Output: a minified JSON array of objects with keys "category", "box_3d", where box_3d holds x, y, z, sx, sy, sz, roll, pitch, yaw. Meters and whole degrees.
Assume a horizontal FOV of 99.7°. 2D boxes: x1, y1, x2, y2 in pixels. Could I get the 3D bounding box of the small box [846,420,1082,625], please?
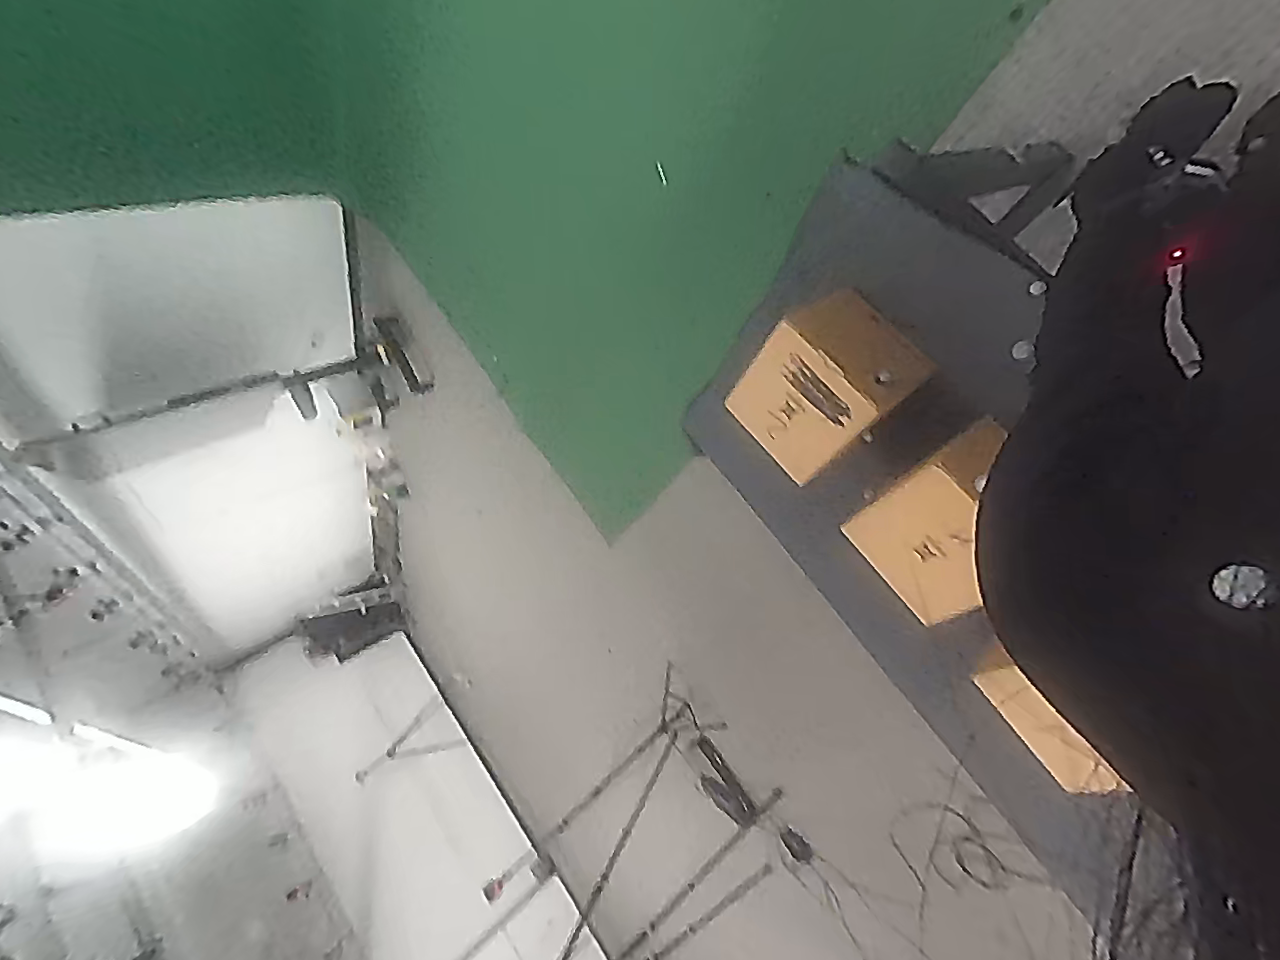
[{"category":"small box","box_3d":[0.415,0.053,0.700,0.168,0.176,0.179,50,143,13]}]
